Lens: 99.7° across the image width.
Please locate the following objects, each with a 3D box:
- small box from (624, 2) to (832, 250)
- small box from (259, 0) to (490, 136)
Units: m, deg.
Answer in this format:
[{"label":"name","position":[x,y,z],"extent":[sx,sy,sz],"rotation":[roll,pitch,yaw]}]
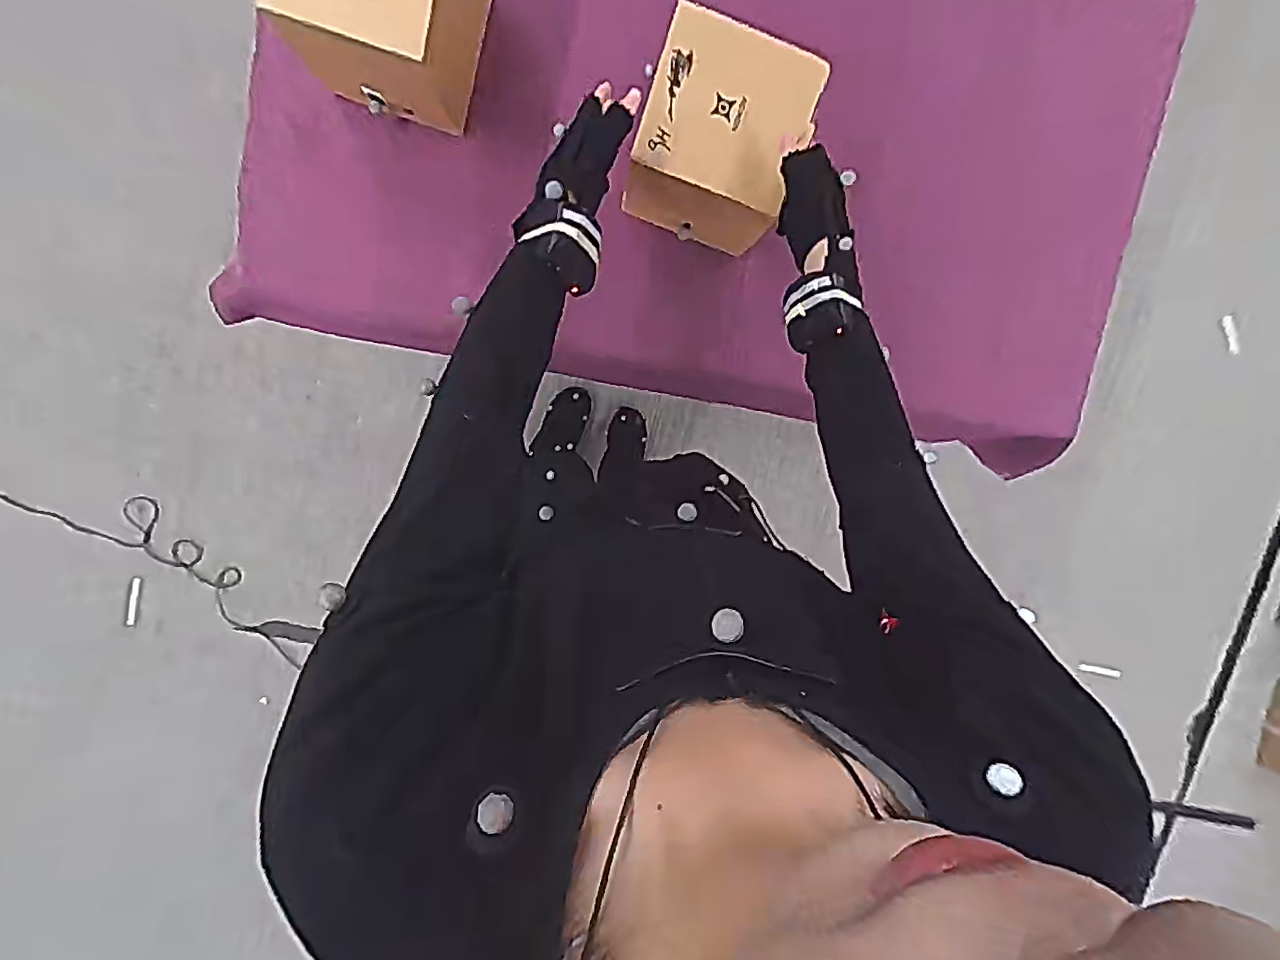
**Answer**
[{"label":"small box","position":[0.090,-0.397,0.648],"extent":[0.179,0.176,0.168],"rotation":[18,96,-8]},{"label":"small box","position":[-0.275,-0.530,0.598],"extent":[0.168,0.176,0.179],"rotation":[14,98,-6]}]
